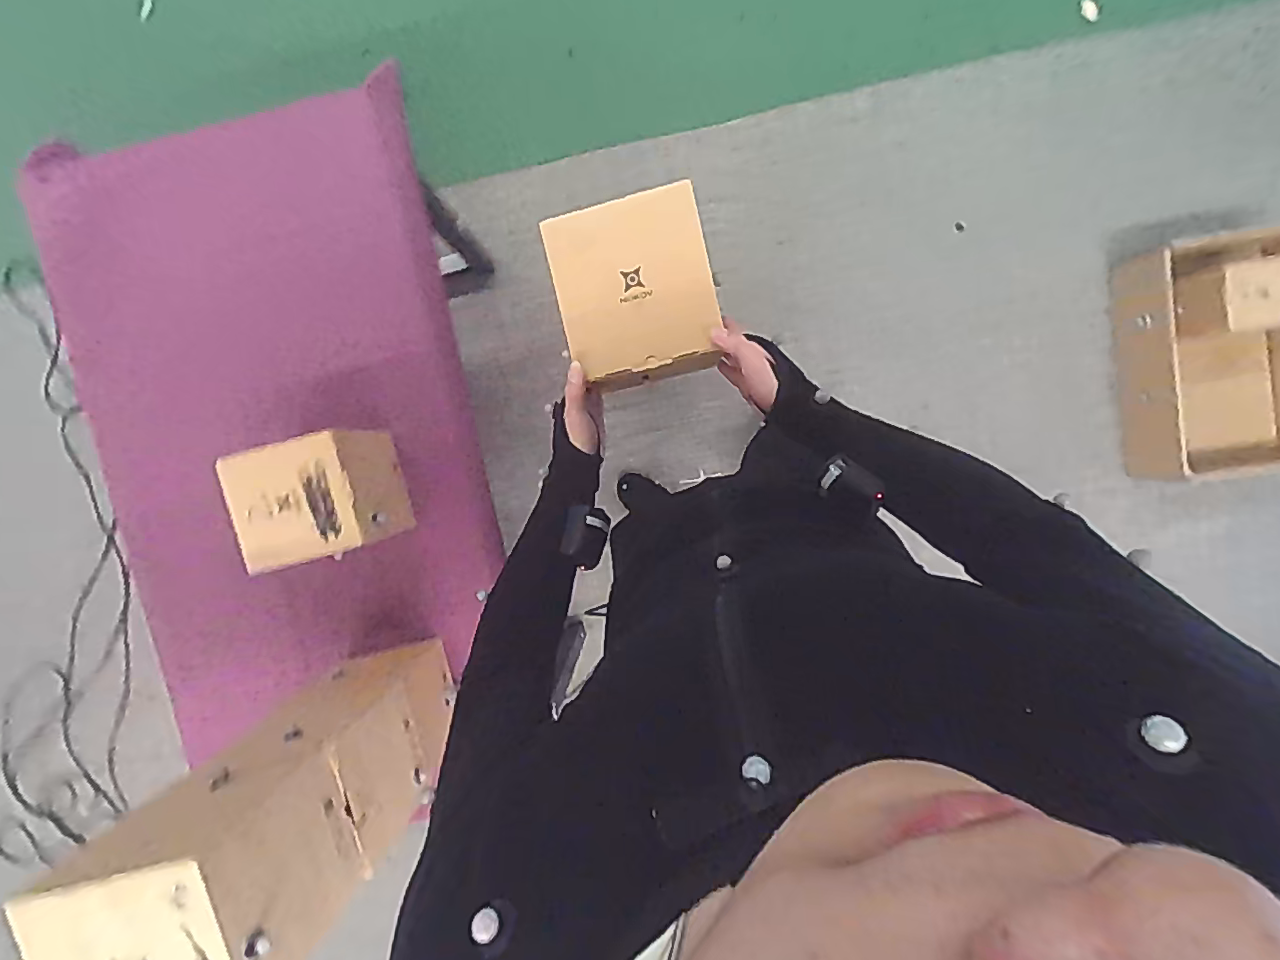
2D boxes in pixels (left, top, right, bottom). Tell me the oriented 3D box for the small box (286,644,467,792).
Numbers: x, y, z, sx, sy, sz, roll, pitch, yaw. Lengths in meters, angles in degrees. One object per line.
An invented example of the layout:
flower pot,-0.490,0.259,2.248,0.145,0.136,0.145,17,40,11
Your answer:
small box,-0.399,0.378,0.847,0.179,0.176,0.168,-15,93,2

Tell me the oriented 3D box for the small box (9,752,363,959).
small box,-0.410,0.398,0.521,0.179,0.176,0.168,-15,94,4

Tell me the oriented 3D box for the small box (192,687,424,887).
small box,-0.397,0.386,0.683,0.179,0.176,0.168,-14,93,4

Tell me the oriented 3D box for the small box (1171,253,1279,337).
small box,1.546,-0.477,1.401,0.179,0.176,0.168,-8,93,1
